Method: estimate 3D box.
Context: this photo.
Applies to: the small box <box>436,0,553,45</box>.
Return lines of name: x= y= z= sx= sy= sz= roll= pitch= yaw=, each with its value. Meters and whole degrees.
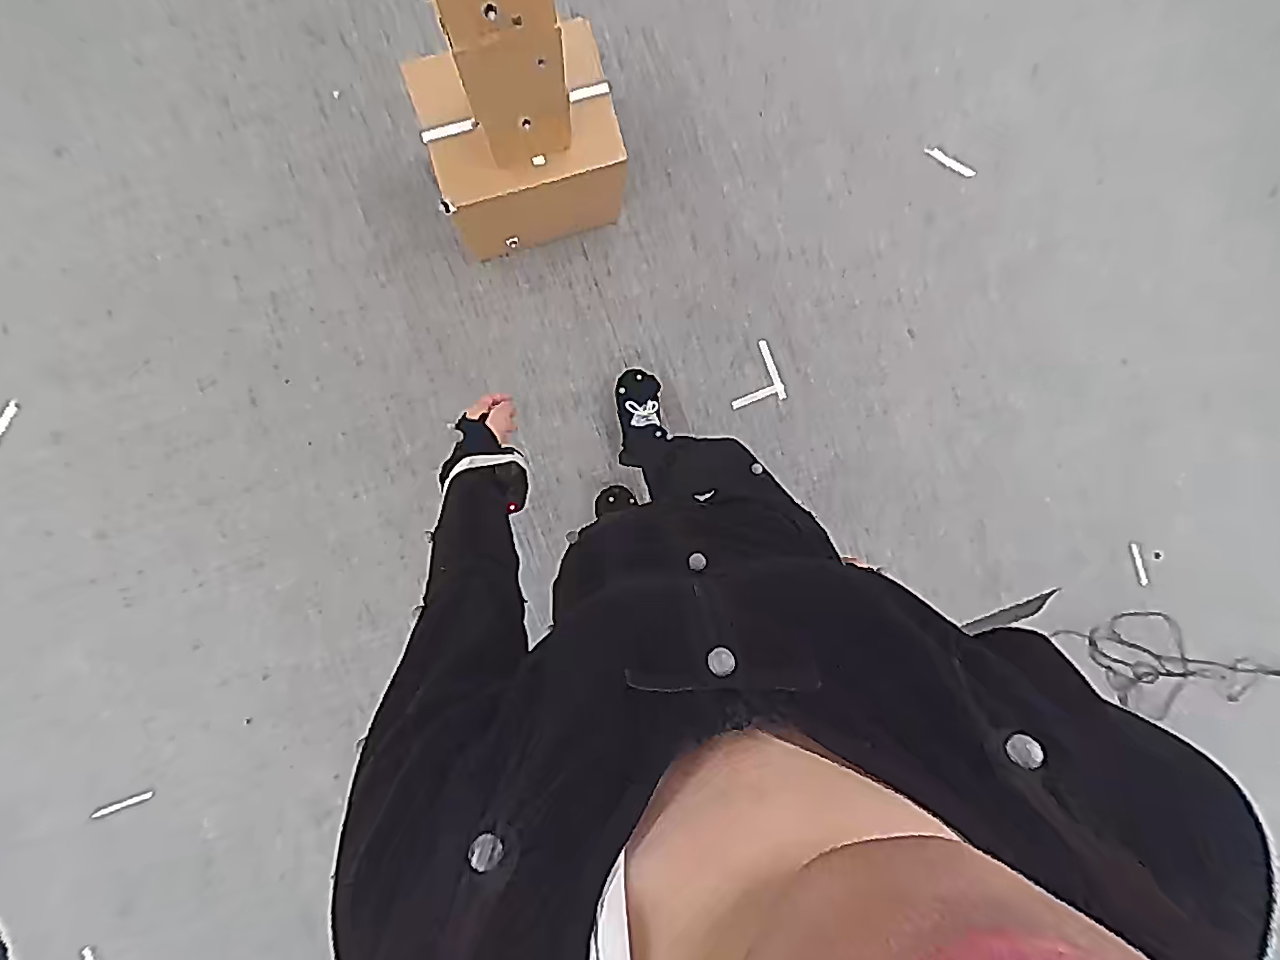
small box: x=-0.226 y=-0.759 z=0.738 sx=0.168 sy=0.176 sz=0.179 roll=-20 pitch=95 yaw=-4

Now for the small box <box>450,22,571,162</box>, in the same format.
small box: x=-0.243 y=-0.766 z=1.065 sx=0.179 sy=0.176 sz=0.168 roll=-21 pitch=95 yaw=-5
